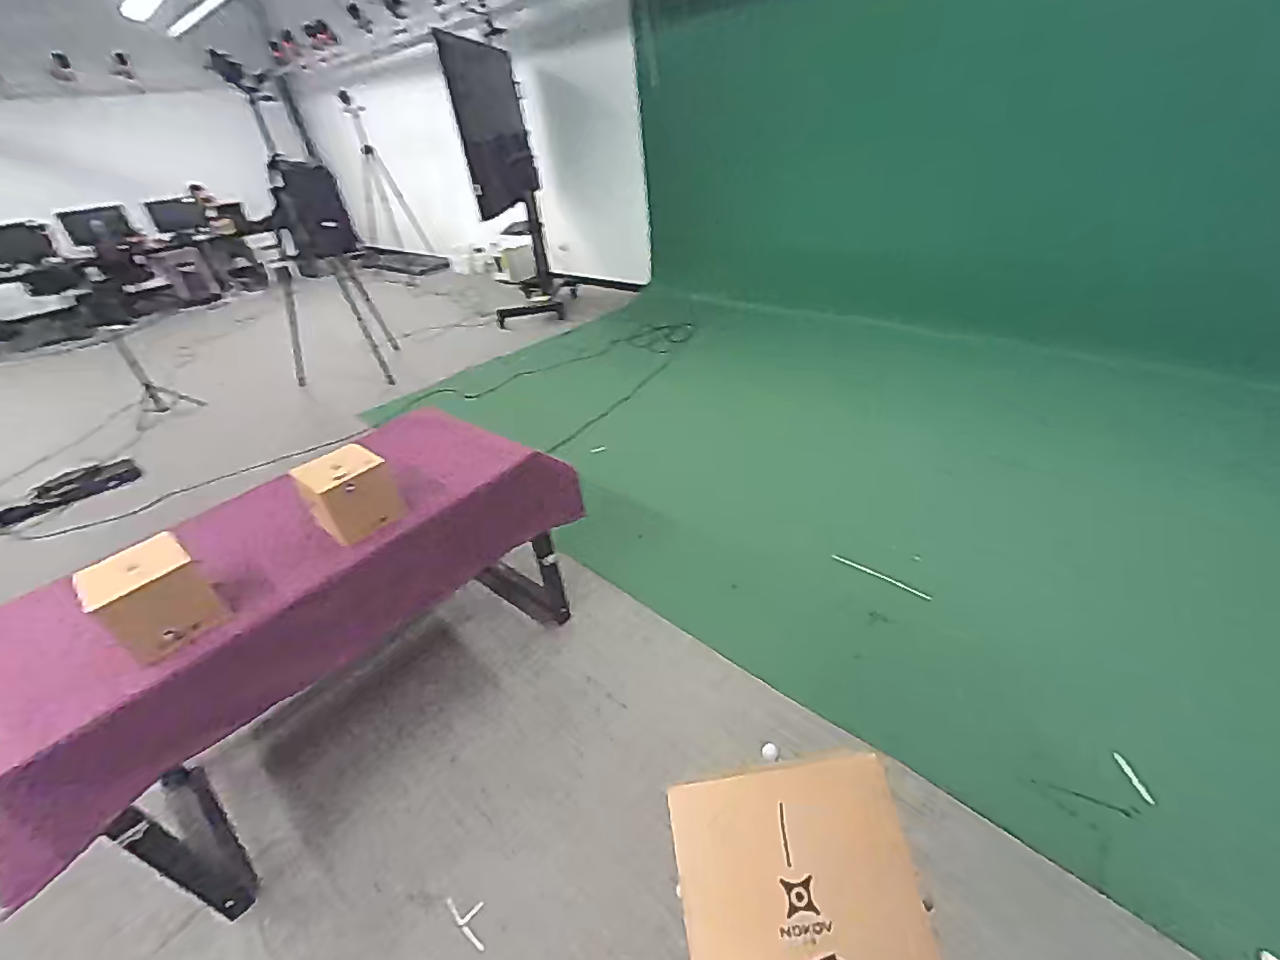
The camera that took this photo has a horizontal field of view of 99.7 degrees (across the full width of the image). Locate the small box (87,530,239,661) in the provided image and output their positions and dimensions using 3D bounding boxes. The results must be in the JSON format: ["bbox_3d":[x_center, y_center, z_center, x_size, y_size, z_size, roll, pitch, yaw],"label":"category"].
[{"bbox_3d":[-0.987,0.240,1.126,0.179,0.176,0.168,23,45,35],"label":"small box"}]

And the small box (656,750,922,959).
[{"bbox_3d":[0.118,0.334,0.453,0.168,0.176,0.179,-12,62,5],"label":"small box"}]

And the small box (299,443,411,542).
[{"bbox_3d":[-0.719,0.031,1.375,0.179,0.176,0.168,21,45,36],"label":"small box"}]
